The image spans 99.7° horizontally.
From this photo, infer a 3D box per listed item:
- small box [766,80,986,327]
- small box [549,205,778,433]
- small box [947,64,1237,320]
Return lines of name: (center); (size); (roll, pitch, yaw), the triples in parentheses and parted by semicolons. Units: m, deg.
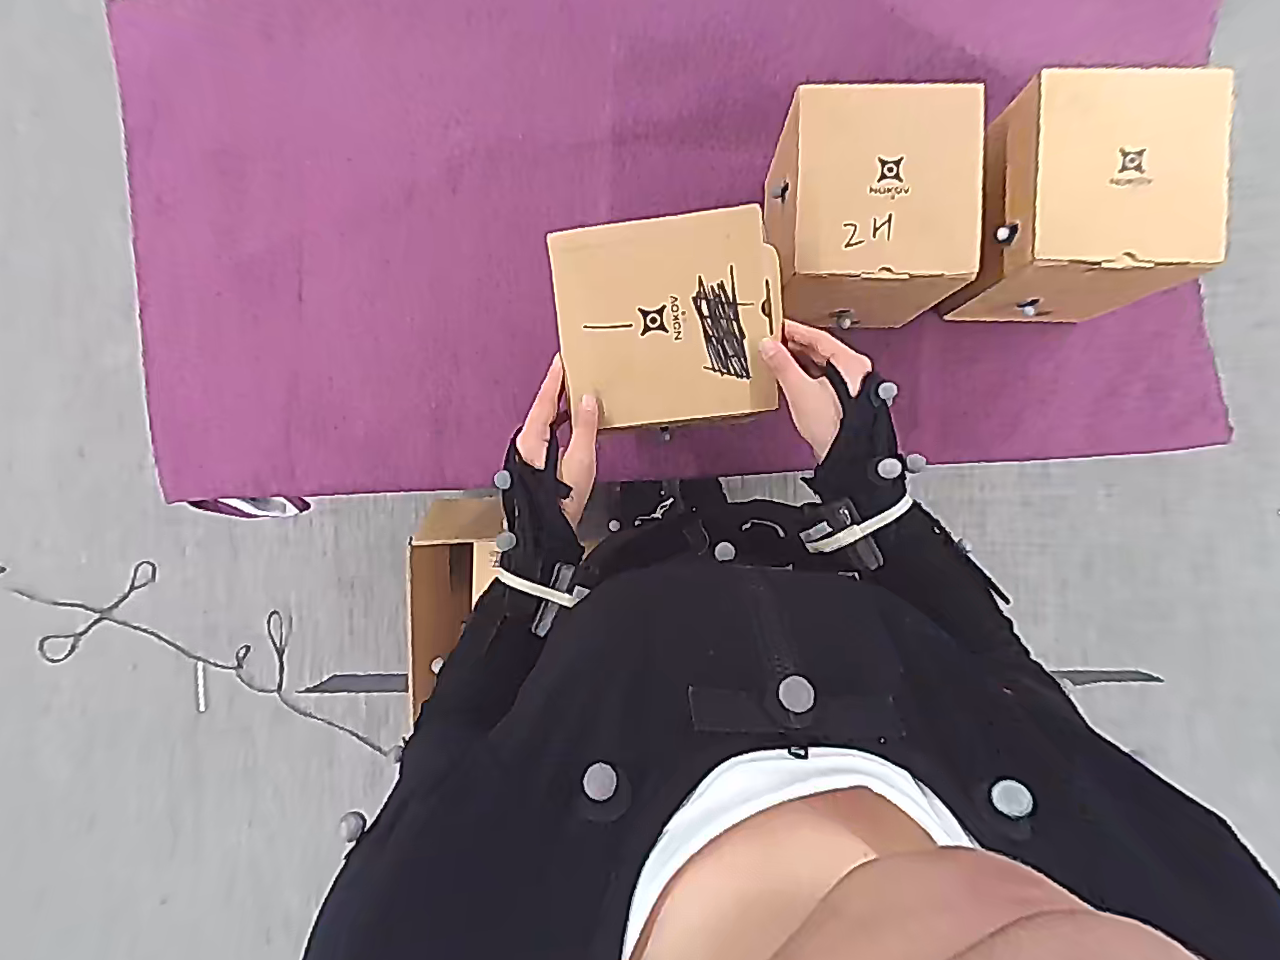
small box: (0.228, -0.272, 0.565); (0.168, 0.176, 0.179); (1, 91, 3)
small box: (0.023, -0.135, 0.518); (0.179, 0.176, 0.168); (-6, 92, 4)
small box: (0.438, -0.278, 0.554); (0.168, 0.176, 0.179); (2, 90, 3)
